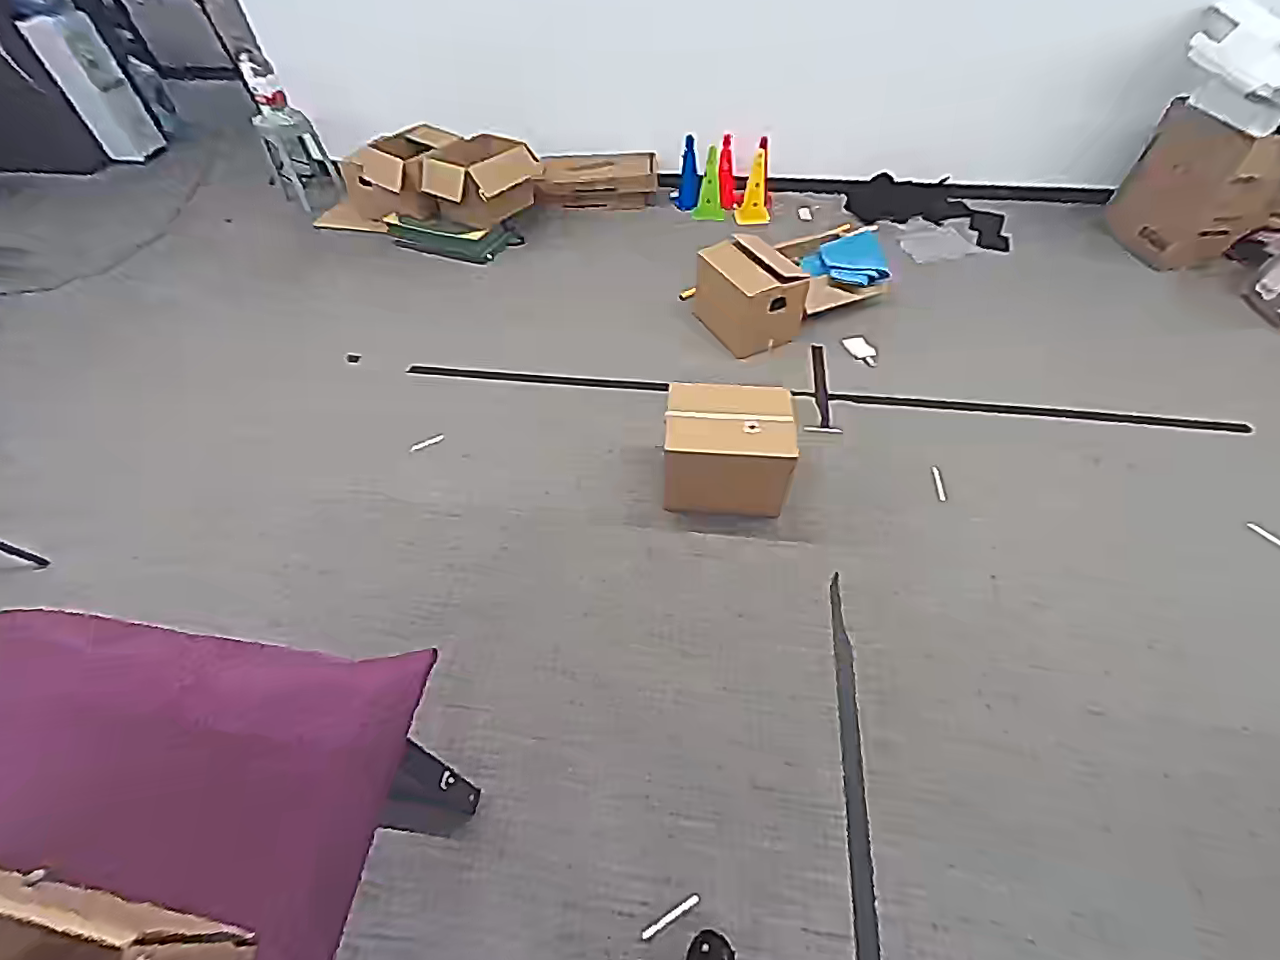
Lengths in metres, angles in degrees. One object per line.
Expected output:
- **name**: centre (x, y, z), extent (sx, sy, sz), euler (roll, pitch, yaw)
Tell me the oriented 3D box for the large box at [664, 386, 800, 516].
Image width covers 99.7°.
- **large box**: centre (0.288, -0.095, 1.817), extent (0.408, 0.320, 0.320), euler (3, 51, 4)
